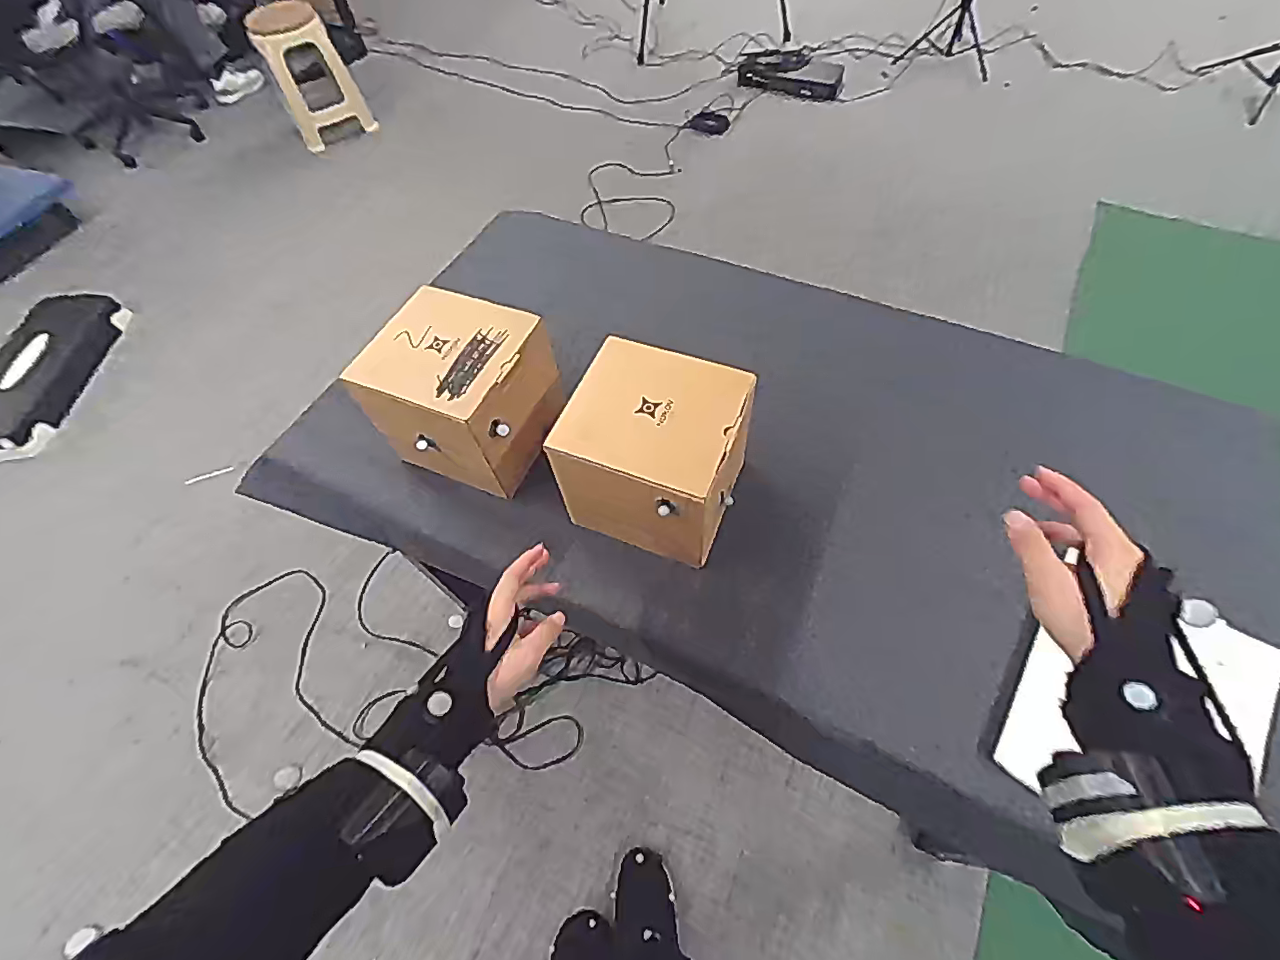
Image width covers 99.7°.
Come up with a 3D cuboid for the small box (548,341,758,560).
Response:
[{"bbox_3d":[0.020,-0.028,0.628,0.179,0.176,0.168,18,61,14],"label":"small box"}]
